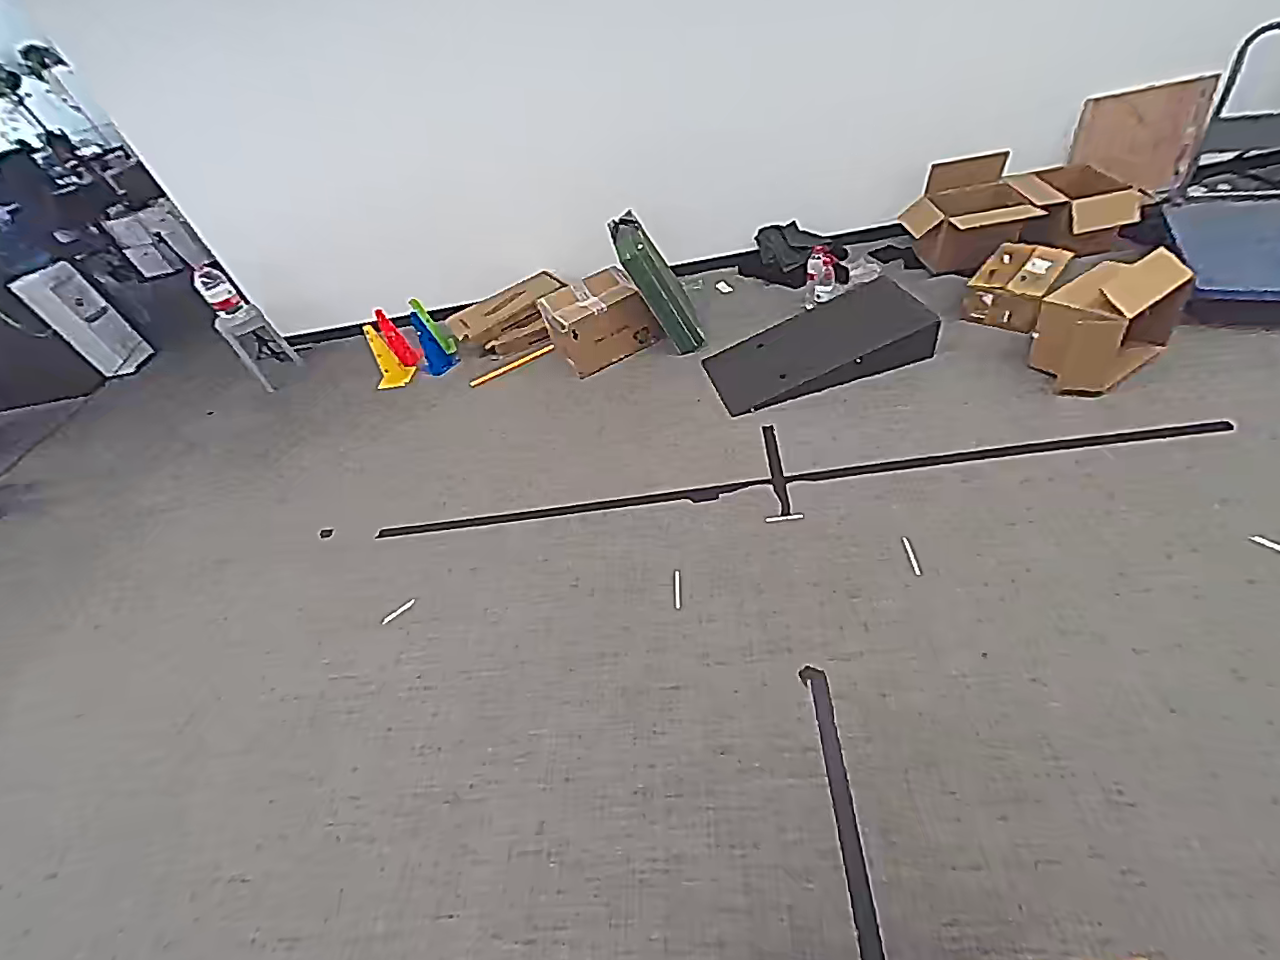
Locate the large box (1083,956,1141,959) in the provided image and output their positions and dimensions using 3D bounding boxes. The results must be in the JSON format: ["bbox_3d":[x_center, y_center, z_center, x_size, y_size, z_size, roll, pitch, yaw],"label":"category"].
[{"bbox_3d":[0.645,0.955,0.747,0.320,0.320,0.408,-19,45,8],"label":"large box"}]
